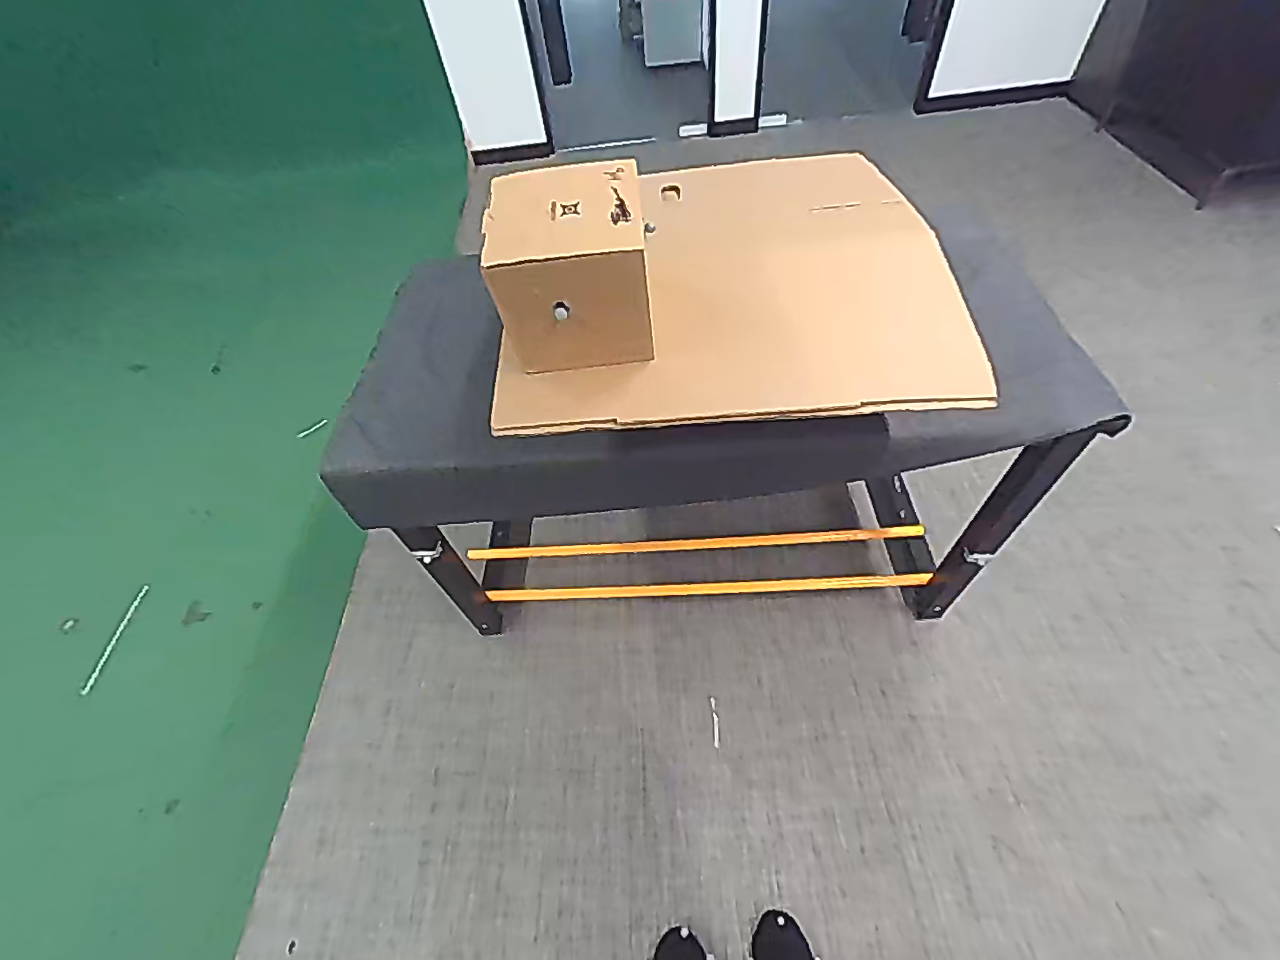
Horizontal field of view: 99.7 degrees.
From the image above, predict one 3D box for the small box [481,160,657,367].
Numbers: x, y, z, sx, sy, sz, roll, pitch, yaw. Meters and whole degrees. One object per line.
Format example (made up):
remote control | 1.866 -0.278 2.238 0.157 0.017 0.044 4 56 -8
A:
small box | -0.077 -0.259 0.673 0.179 0.176 0.168 -6 60 4
